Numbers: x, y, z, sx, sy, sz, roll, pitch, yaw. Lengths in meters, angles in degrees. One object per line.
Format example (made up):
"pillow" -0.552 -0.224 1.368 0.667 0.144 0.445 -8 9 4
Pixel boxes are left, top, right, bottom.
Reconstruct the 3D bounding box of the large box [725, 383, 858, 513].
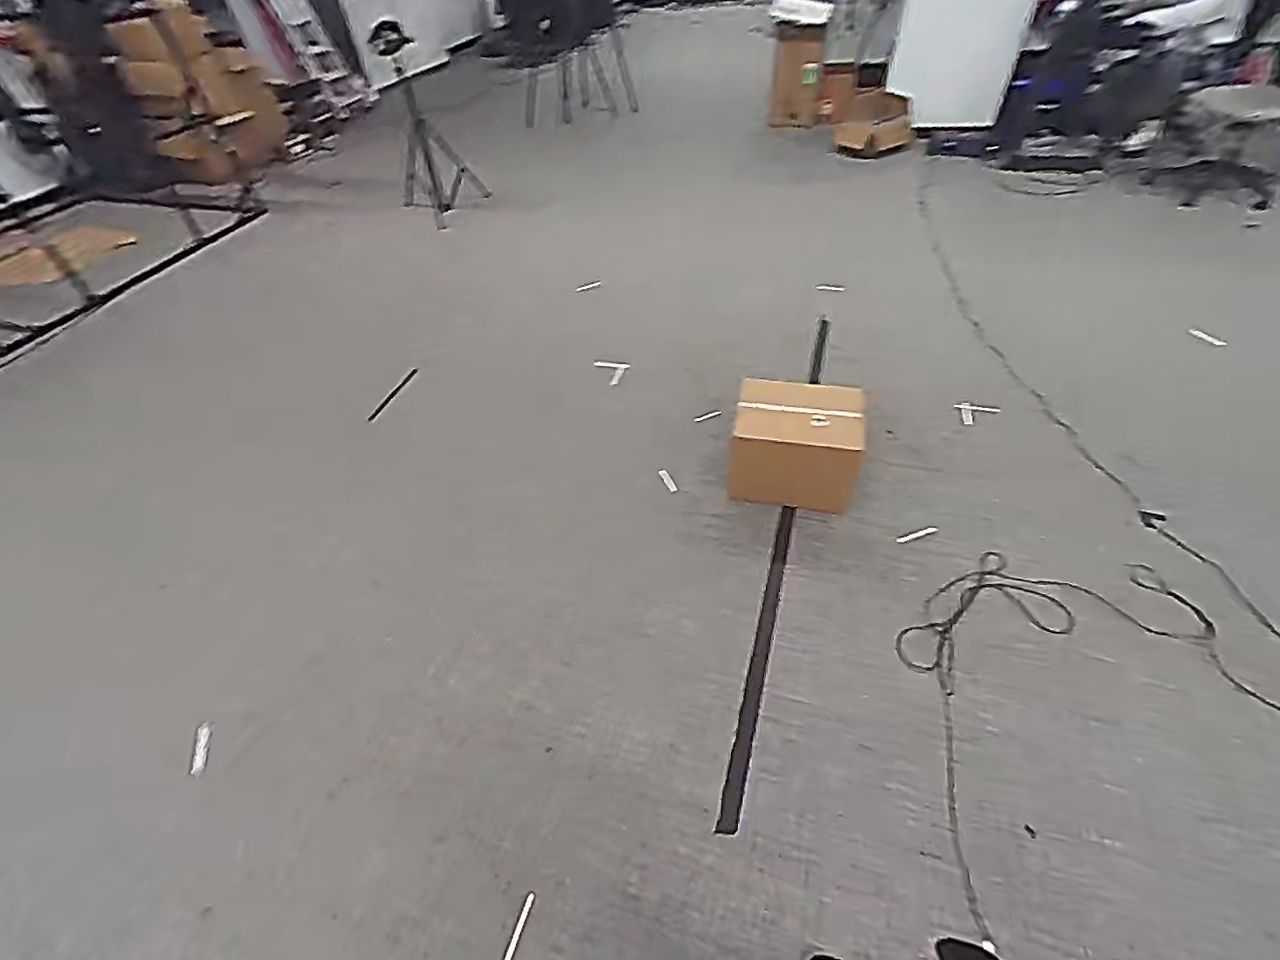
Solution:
"large box" 0.521 -0.113 1.909 0.408 0.320 0.320 8 49 12
